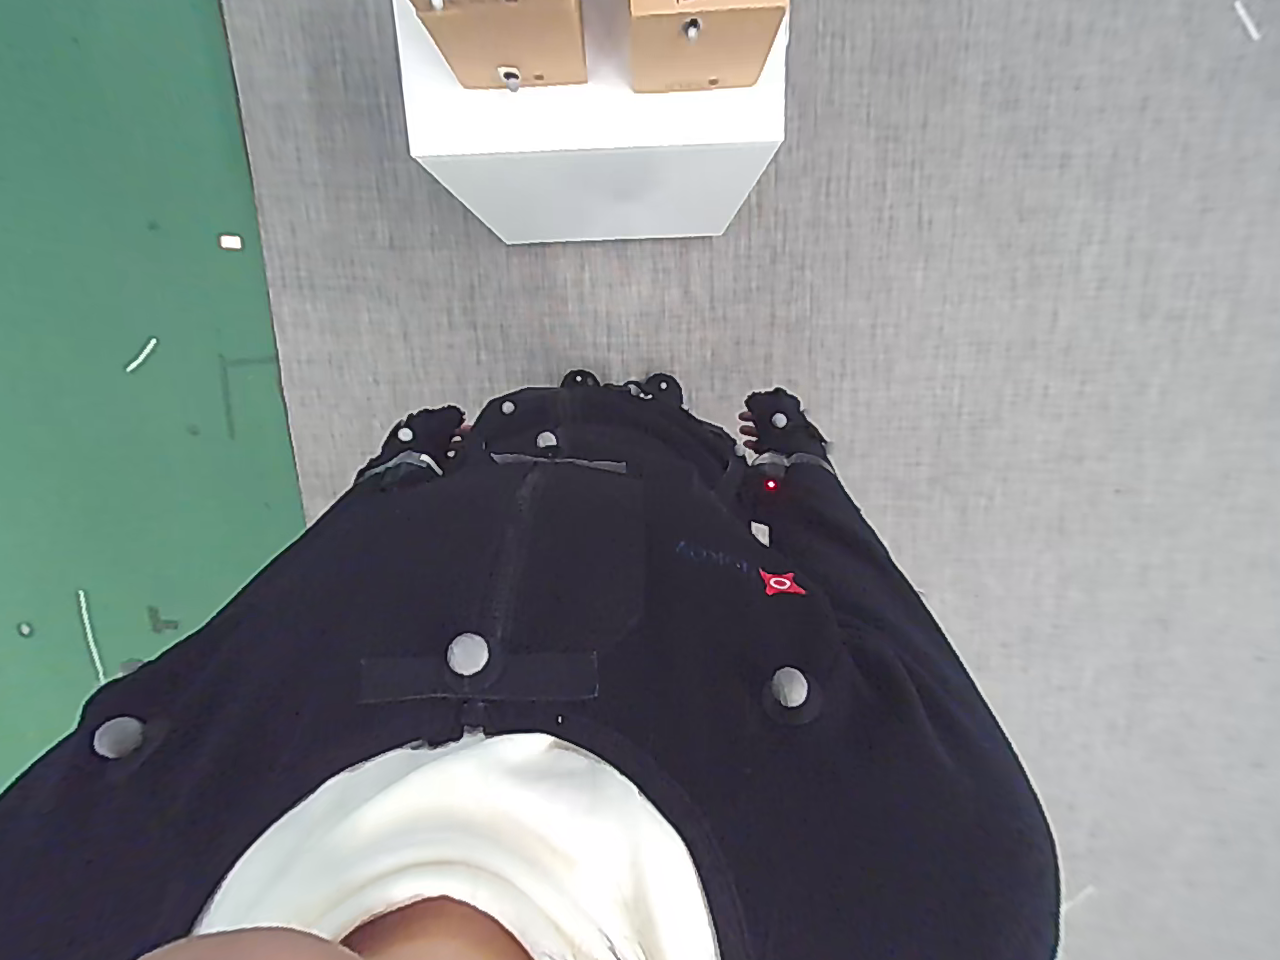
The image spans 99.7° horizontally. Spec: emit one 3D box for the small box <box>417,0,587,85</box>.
[{"bbox_3d":[-0.154,-0.589,0.610,0.168,0.176,0.179,-4,103,1],"label":"small box"}]

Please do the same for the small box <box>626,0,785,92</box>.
[{"bbox_3d":[0.066,-0.588,0.624,0.168,0.176,0.179,-2,101,0],"label":"small box"}]
